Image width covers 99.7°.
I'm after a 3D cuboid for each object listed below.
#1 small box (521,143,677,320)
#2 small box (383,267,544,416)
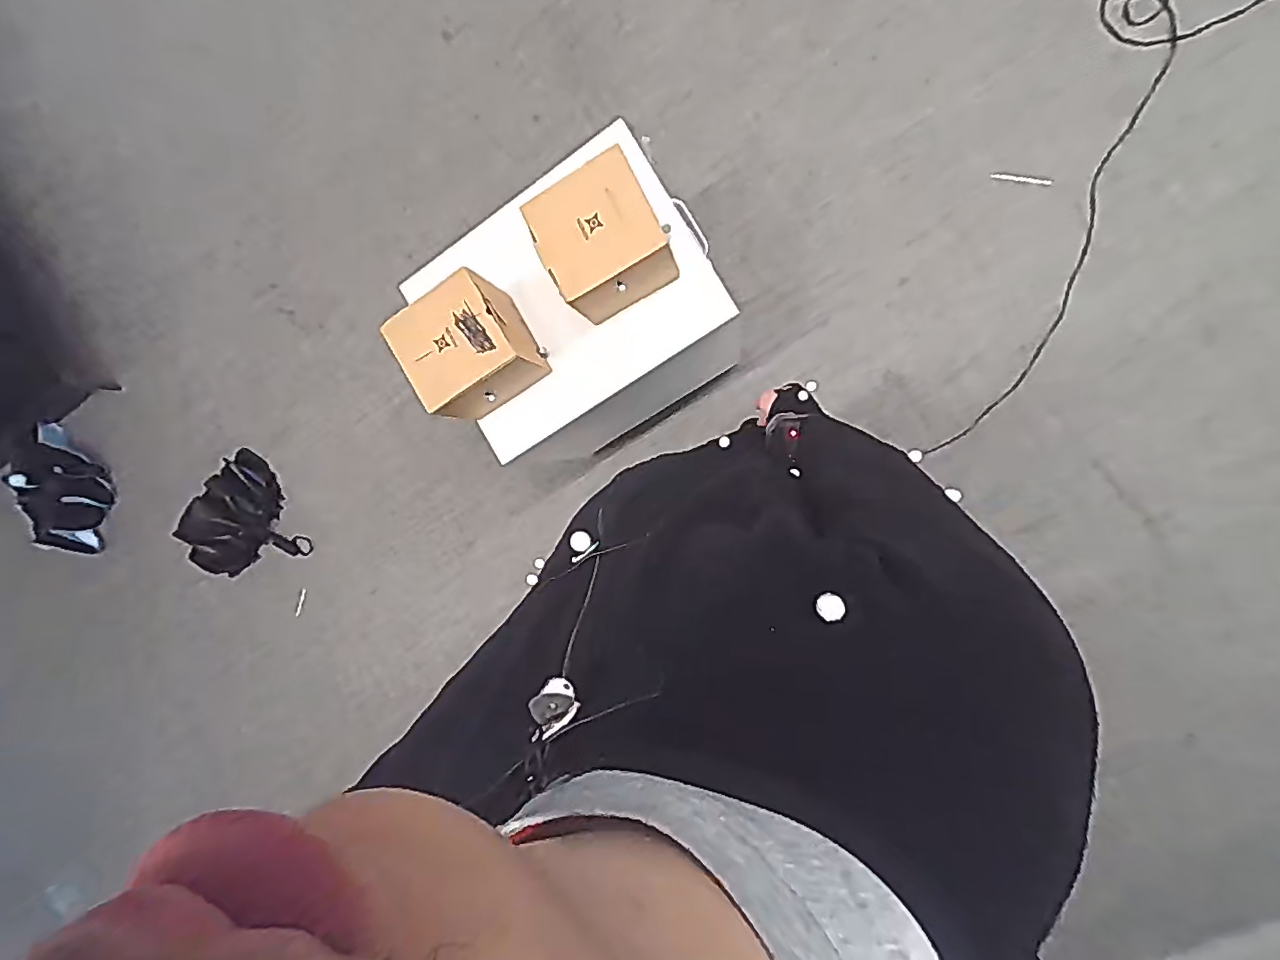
[{"bbox_3d":[-0.055,-0.381,0.868,0.179,0.176,0.168,-27,90,11],"label":"small box"},{"bbox_3d":[-0.284,-0.224,0.920,0.179,0.176,0.168,-30,87,12],"label":"small box"}]
